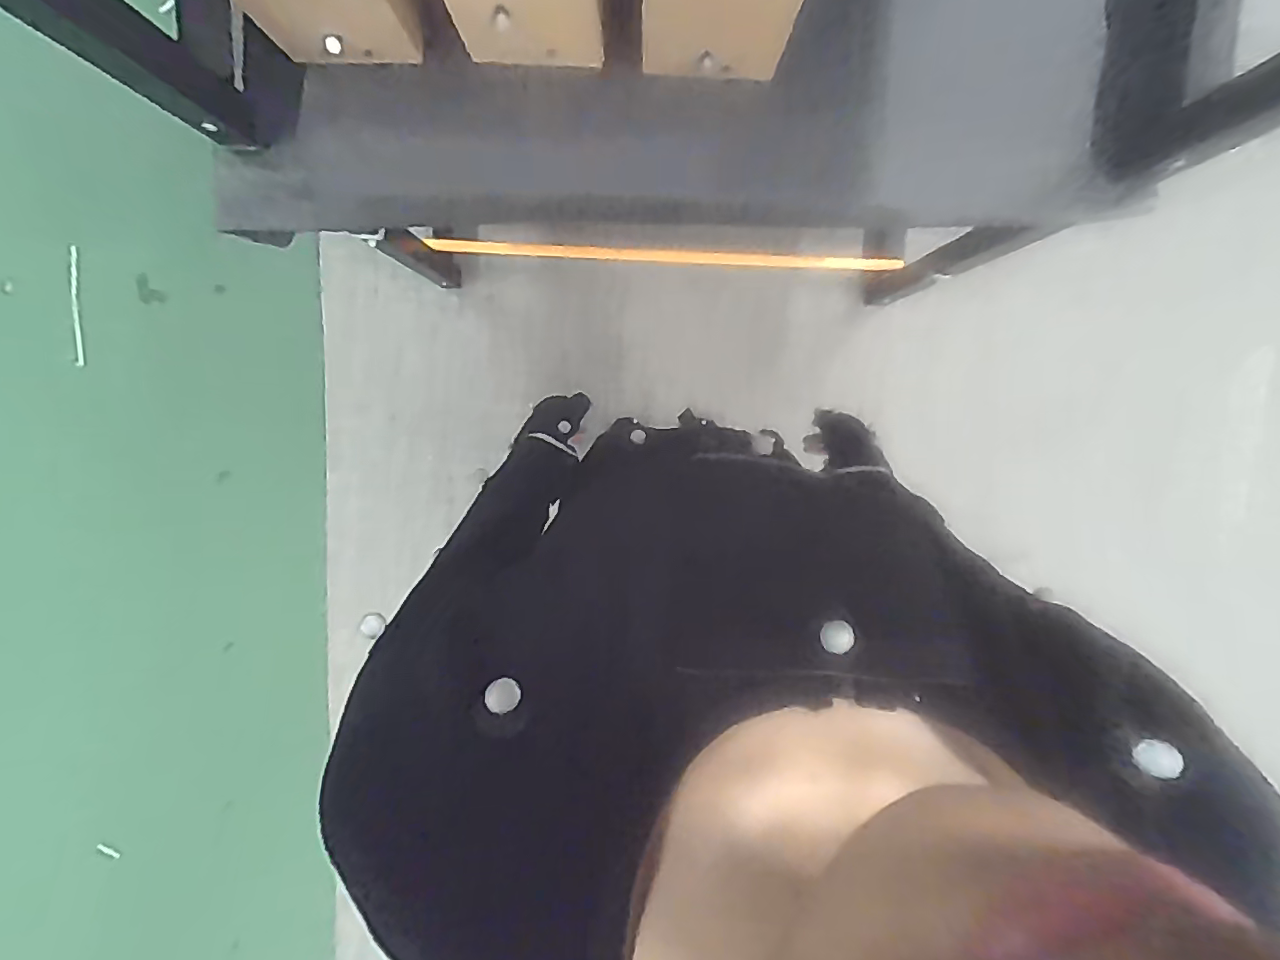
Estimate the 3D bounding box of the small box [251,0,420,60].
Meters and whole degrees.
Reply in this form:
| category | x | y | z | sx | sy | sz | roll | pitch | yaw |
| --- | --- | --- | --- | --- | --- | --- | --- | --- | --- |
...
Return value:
| category | x | y | z | sx | sy | sz | roll | pitch | yaw |
| --- | --- | --- | --- | --- | --- | --- | --- | --- | --- |
| small box | -0.353 | -0.605 | 0.585 | 0.168 | 0.176 | 0.179 | 0 | 98 | 0 |

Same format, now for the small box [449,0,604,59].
| category | x | y | z | sx | sy | sz | roll | pitch | yaw |
| --- | --- | --- | --- | --- | --- | --- | --- | --- | --- |
| small box | -0.125 | -0.601 | 0.586 | 0.168 | 0.176 | 0.179 | 2 | 97 | 0 |
